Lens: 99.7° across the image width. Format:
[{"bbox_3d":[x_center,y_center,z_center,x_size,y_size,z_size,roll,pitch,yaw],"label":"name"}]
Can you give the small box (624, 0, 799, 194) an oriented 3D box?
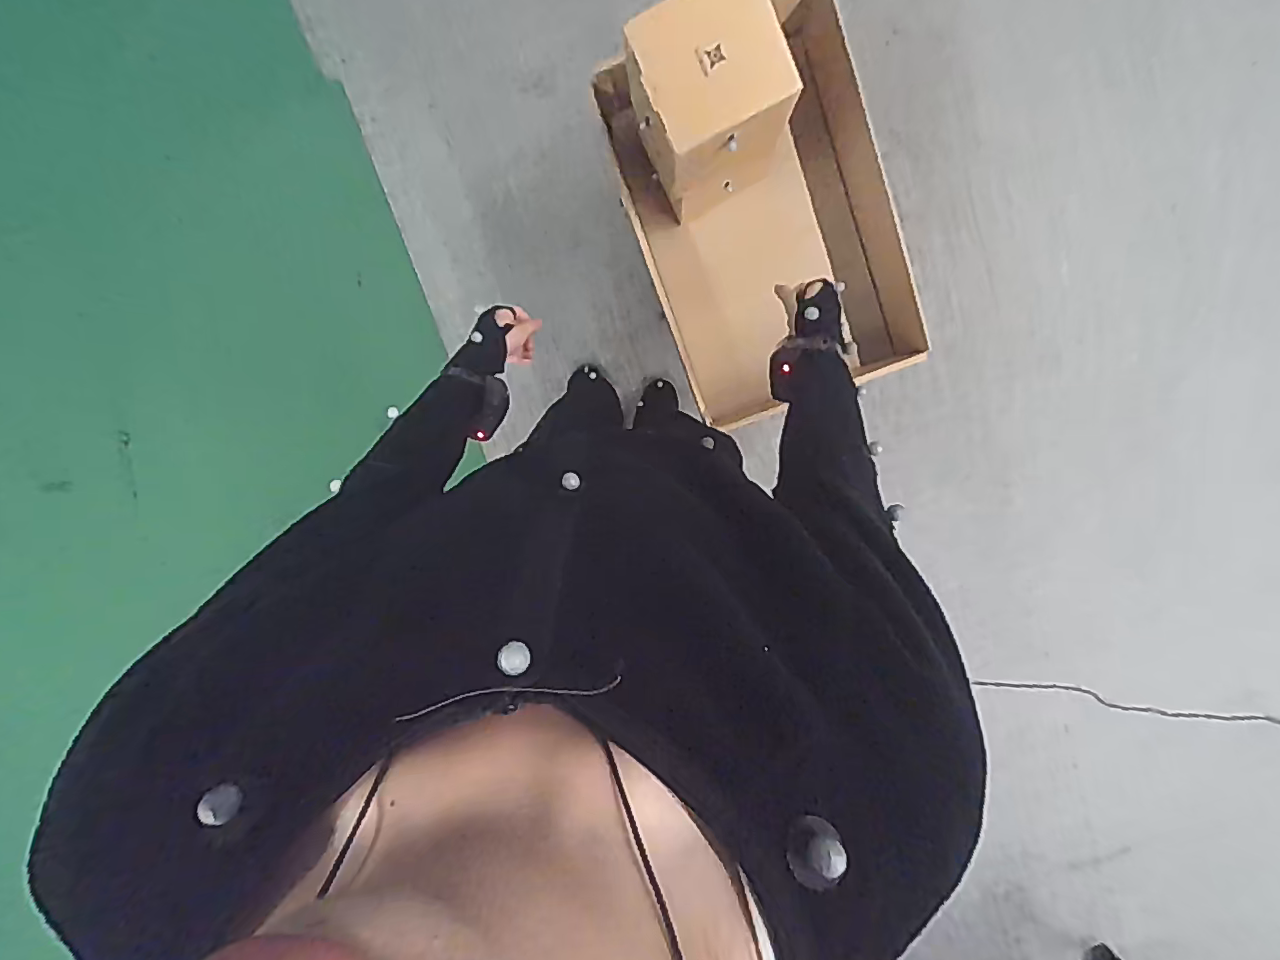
[{"bbox_3d":[0.093,-0.534,0.748,0.179,0.176,0.168,-24,98,8],"label":"small box"}]
